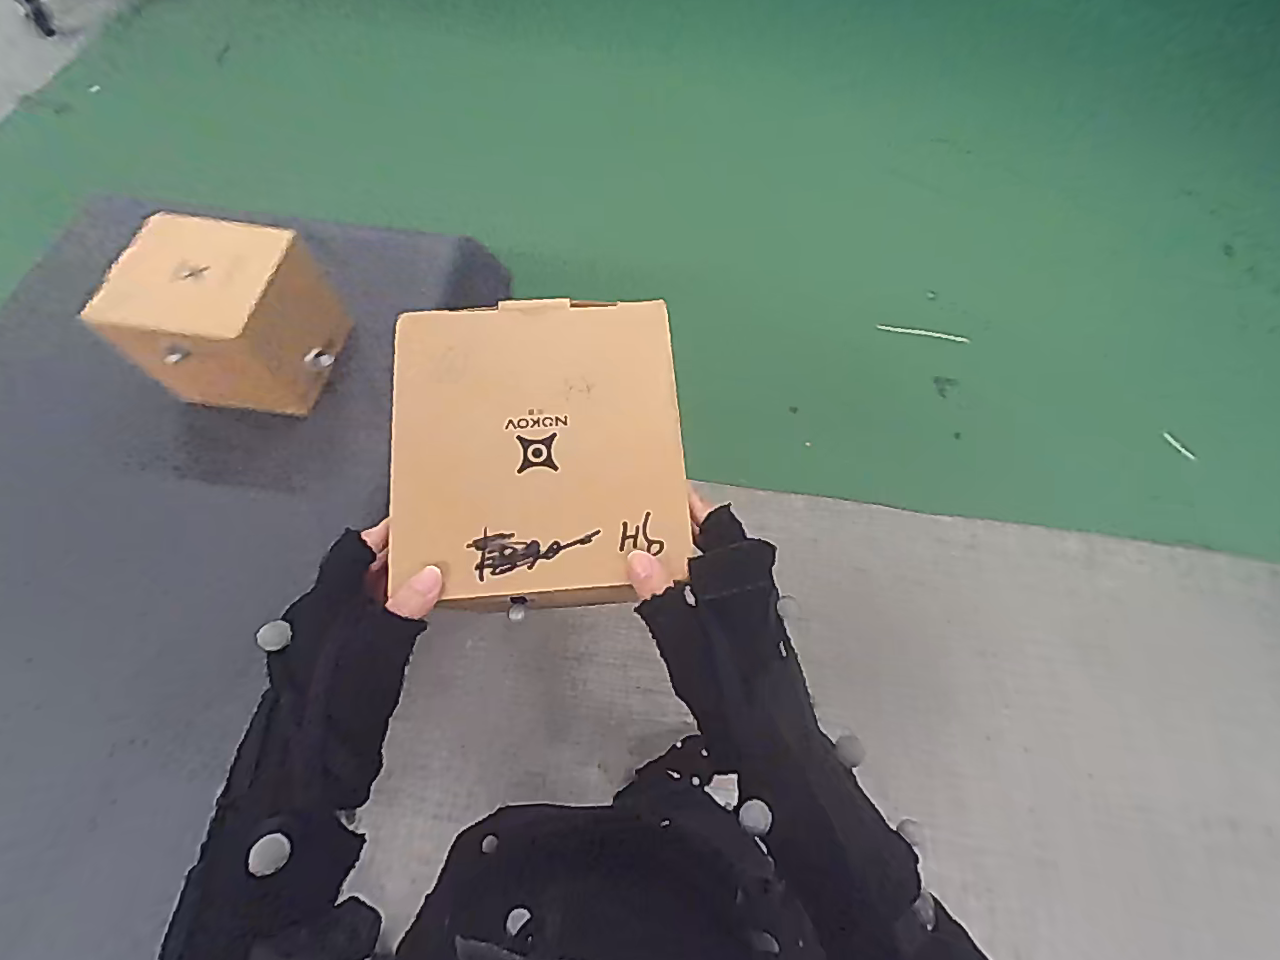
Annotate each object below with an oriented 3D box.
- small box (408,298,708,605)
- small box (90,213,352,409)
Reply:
[{"bbox_3d":[-0.050,-0.007,0.394,0.168,0.176,0.179,-4,74,-2],"label":"small box"},{"bbox_3d":[-0.514,-0.208,0.698,0.179,0.176,0.168,8,67,-1],"label":"small box"}]
